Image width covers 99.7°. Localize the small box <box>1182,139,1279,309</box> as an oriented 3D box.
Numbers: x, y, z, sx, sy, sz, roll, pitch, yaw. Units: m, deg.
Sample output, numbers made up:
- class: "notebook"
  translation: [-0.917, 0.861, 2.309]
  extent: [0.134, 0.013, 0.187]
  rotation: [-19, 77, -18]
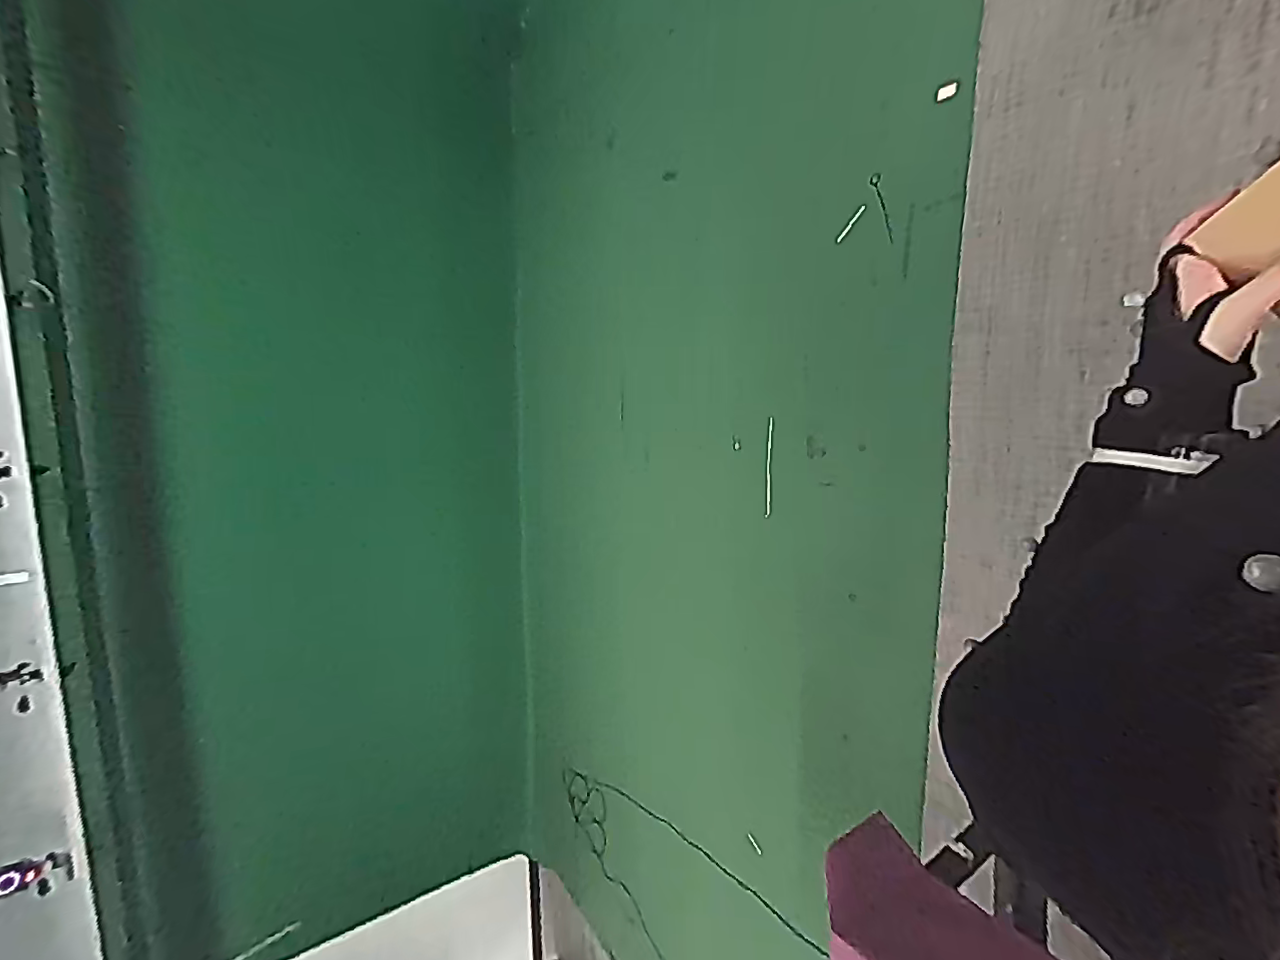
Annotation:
- class: "small box"
  translation: [0.498, -0.186, 0.303]
  extent: [0.168, 0.176, 0.179]
  rotation: [56, 163, 17]
